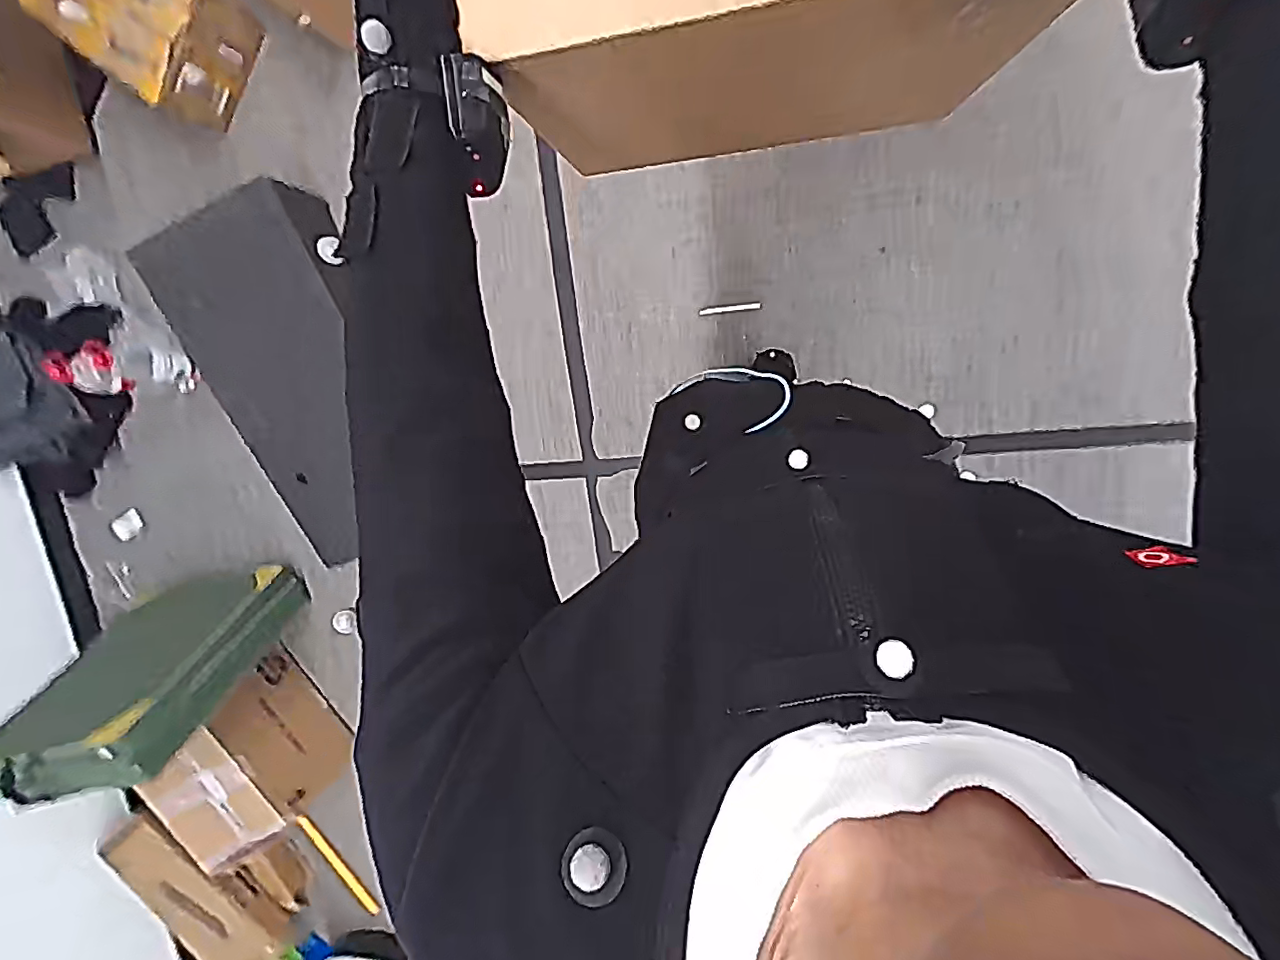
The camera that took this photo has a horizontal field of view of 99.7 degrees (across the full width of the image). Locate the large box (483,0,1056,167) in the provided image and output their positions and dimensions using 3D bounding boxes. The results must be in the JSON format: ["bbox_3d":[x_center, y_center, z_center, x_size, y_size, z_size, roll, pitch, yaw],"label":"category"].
[{"bbox_3d":[0.096,-0.485,0.427,0.408,0.320,0.320,-4,107,9],"label":"large box"}]
